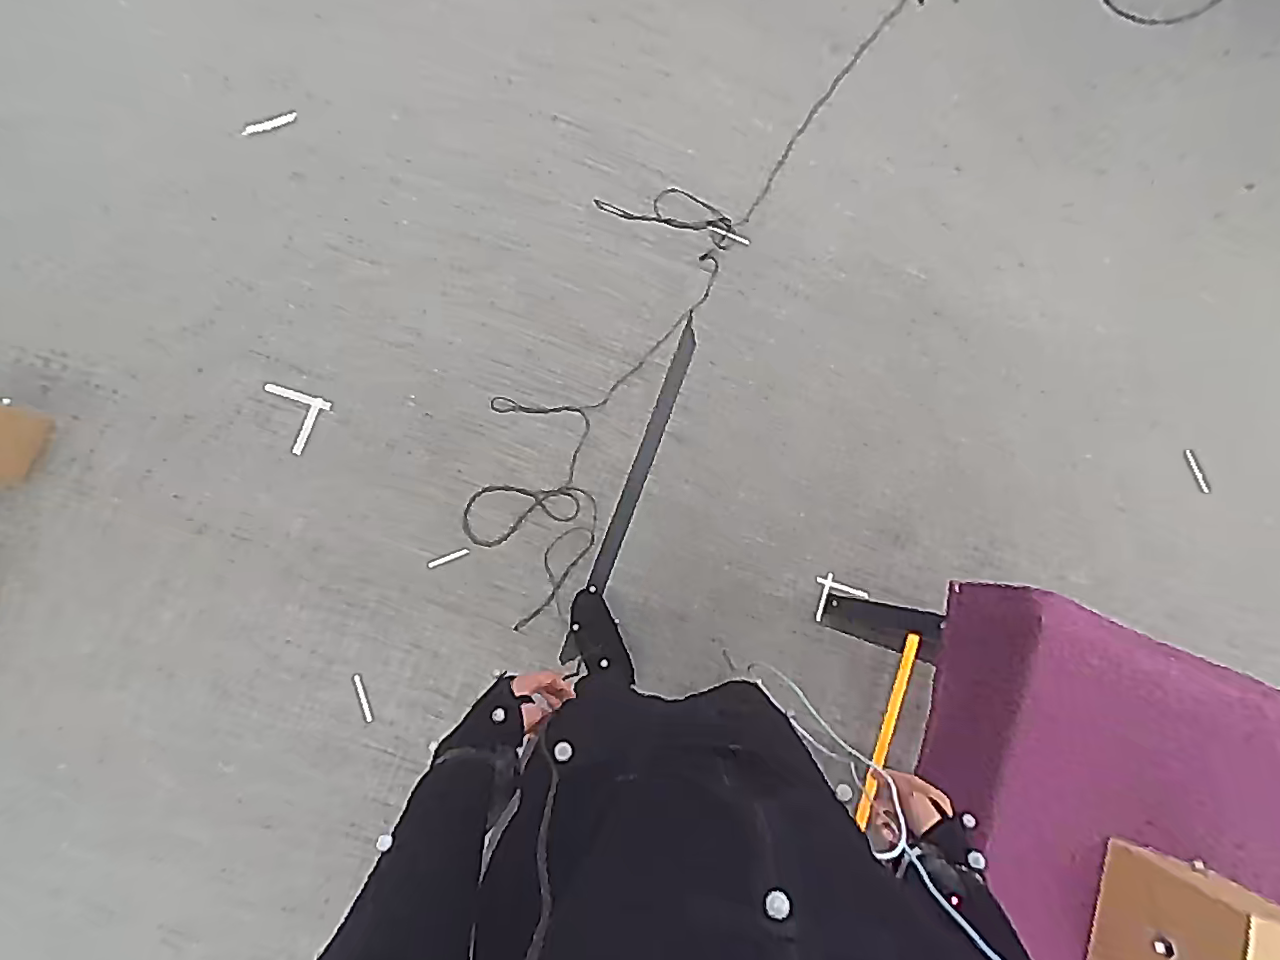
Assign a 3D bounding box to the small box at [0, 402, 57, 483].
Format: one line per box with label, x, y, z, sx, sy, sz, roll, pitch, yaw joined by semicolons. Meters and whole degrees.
small box;-1.561;-0.102;1.274;0.168;0.176;0.179;19;81;-3
